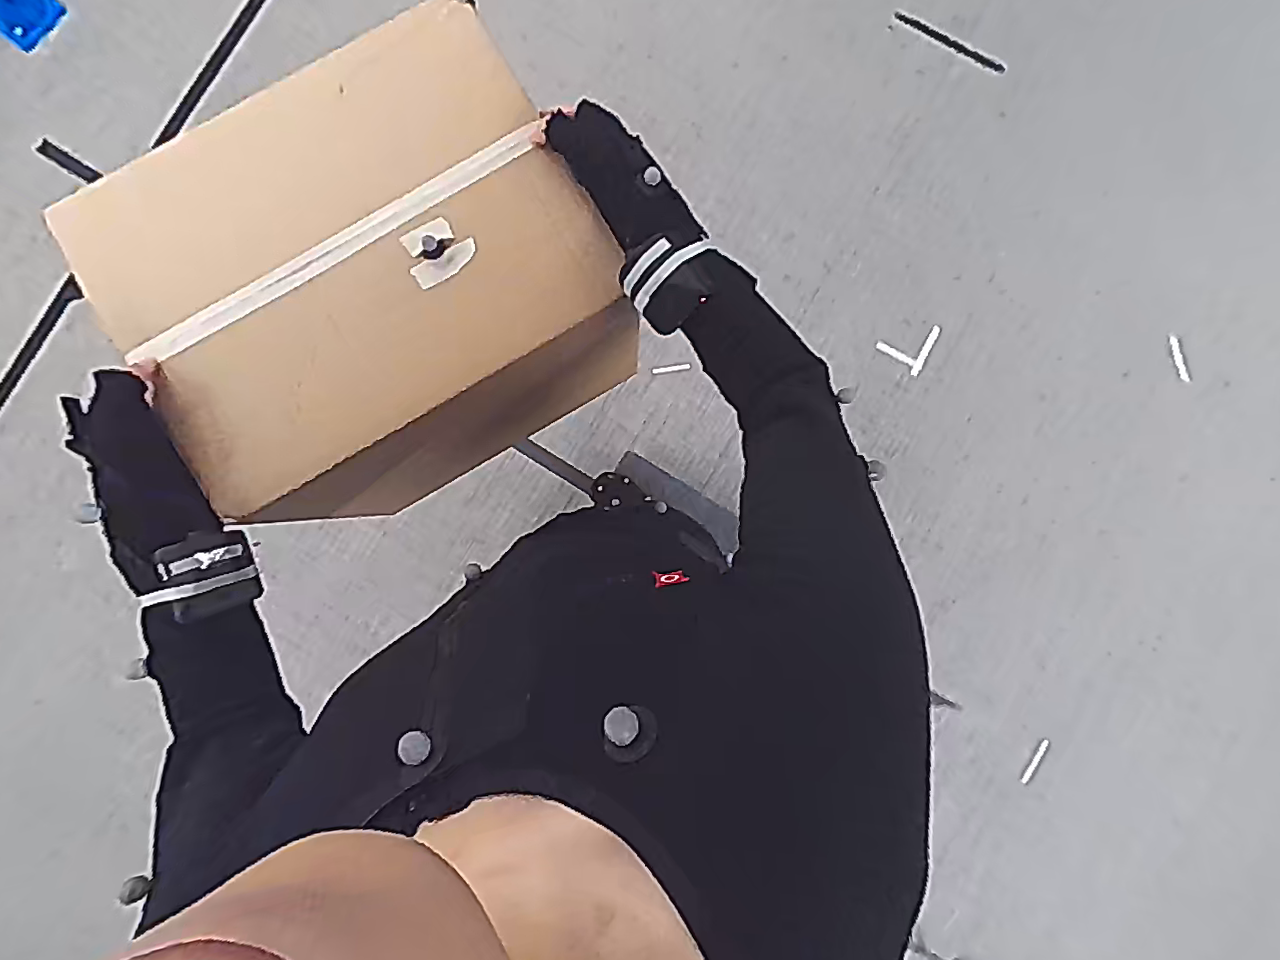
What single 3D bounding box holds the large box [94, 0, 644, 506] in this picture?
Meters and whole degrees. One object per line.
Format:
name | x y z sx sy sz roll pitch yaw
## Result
large box | -0.242 -0.200 0.626 0.408 0.320 0.320 -30 89 -2
